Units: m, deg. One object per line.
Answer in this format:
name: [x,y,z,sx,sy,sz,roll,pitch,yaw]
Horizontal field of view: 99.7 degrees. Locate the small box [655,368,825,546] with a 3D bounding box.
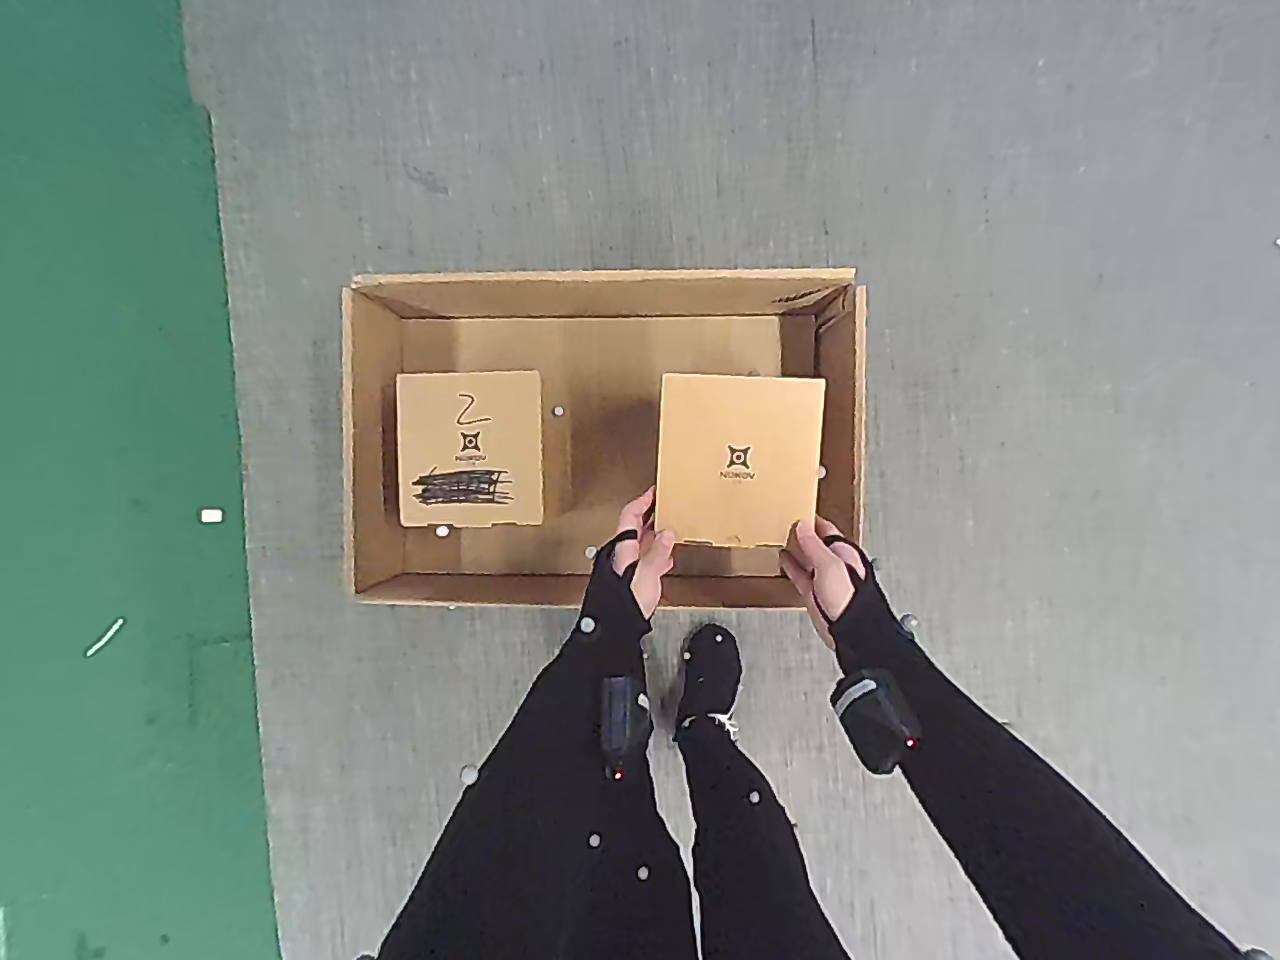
small box: [0.104,-0.029,0.630,0.168,0.176,0.179,3,95,2]
